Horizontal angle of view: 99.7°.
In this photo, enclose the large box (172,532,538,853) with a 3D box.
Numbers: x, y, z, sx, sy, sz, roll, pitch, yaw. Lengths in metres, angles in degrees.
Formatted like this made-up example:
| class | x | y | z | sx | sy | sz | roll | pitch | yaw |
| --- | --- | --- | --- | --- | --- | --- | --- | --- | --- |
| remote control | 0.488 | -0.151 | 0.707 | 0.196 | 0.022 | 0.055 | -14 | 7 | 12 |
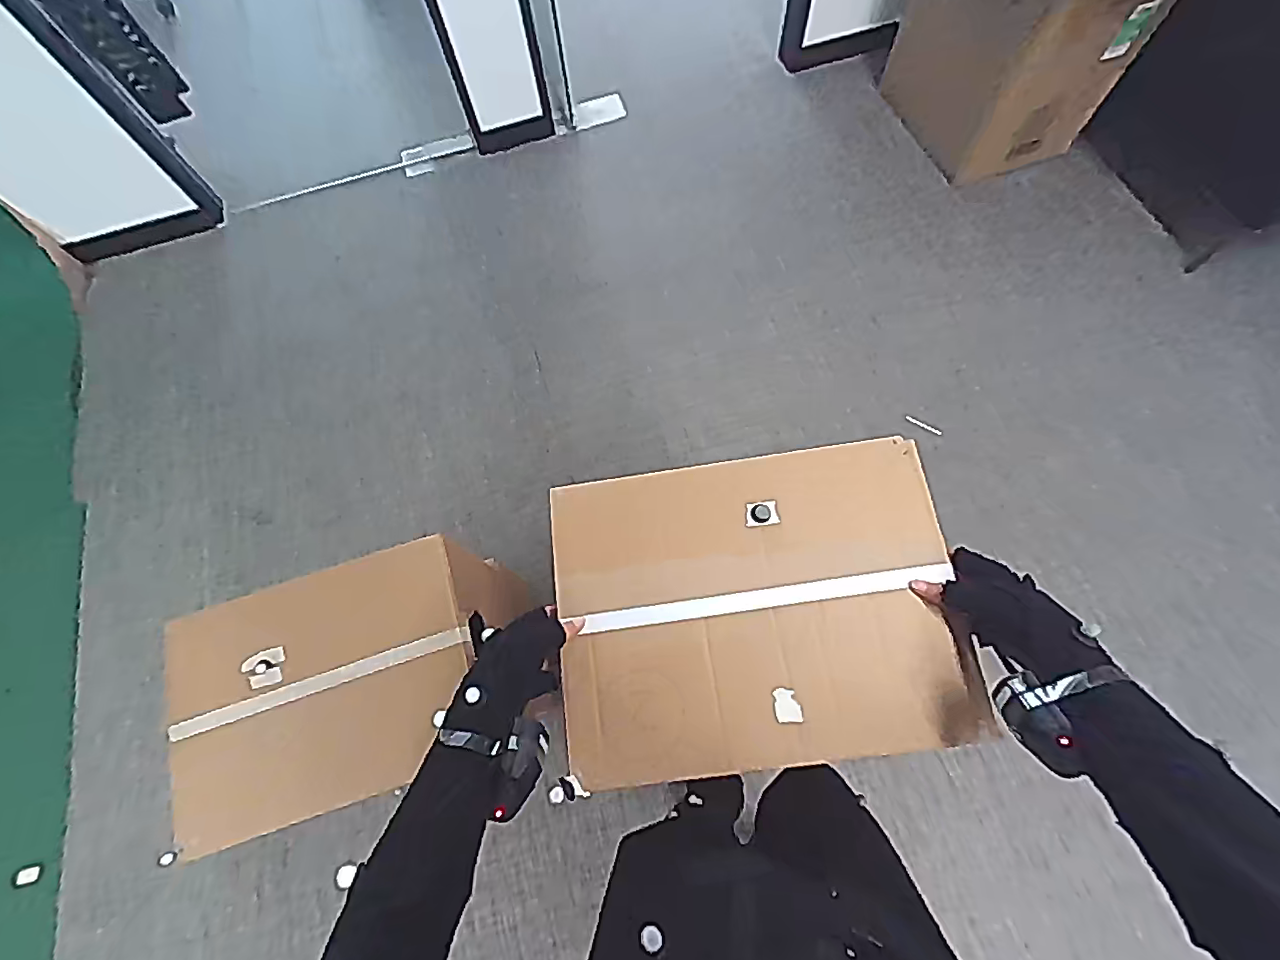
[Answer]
| class | x | y | z | sx | sy | sz | roll | pitch | yaw |
| --- | --- | --- | --- | --- | --- | --- | --- | --- | --- |
| large box | -0.425 | 0.316 | 0.878 | 0.408 | 0.320 | 0.320 | -18 | 72 | -2 |
